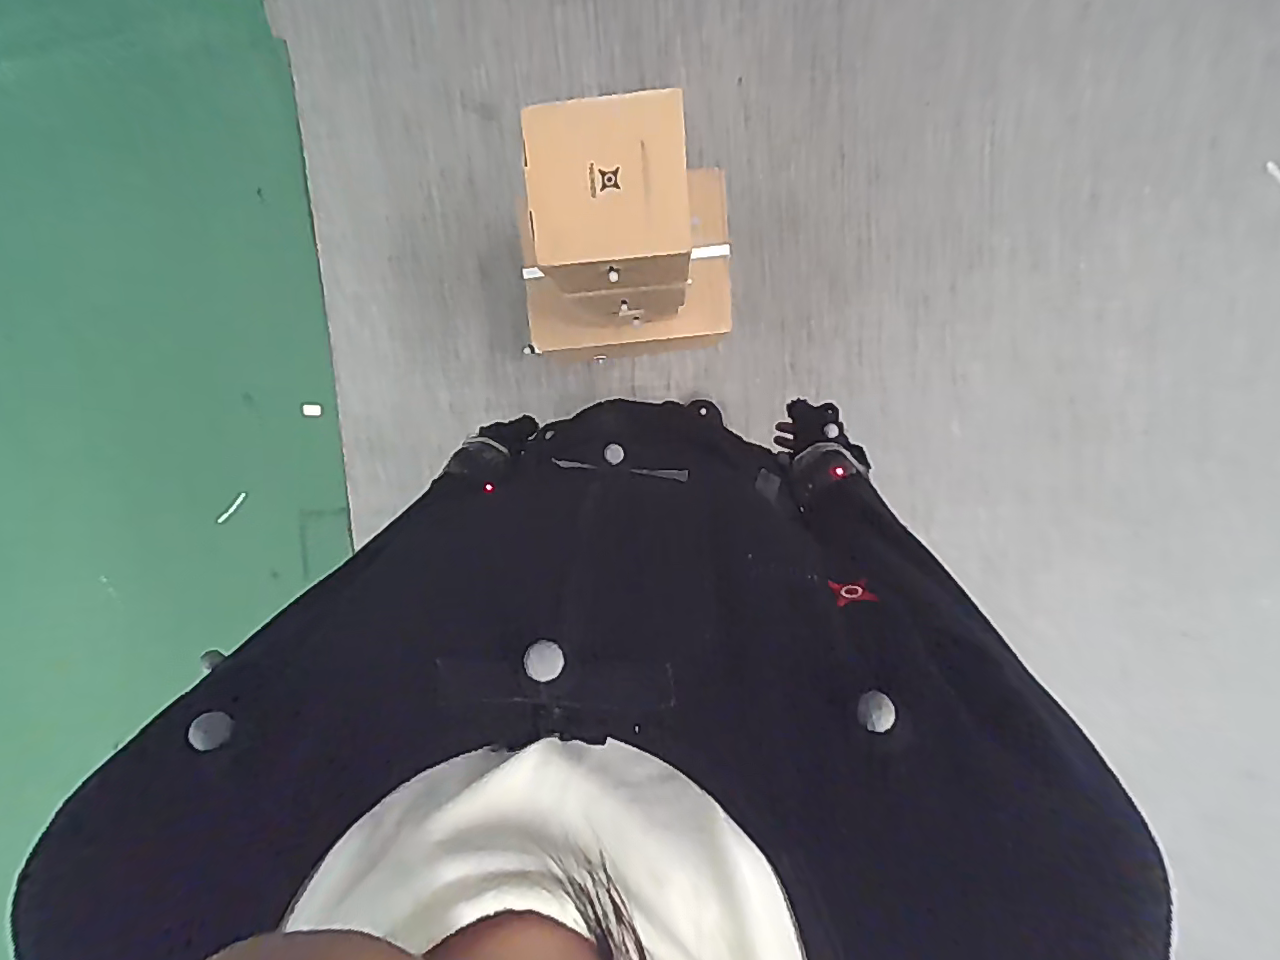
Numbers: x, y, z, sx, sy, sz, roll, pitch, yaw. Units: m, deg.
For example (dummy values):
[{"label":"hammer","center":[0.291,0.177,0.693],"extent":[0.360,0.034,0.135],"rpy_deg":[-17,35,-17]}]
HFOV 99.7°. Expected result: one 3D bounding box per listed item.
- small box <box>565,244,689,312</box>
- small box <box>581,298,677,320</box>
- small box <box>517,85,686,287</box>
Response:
[{"label":"small box","center":[-0.025,-0.358,0.819],"extent":[0.179,0.176,0.168],"rpy_deg":[-7,99,4]},{"label":"small box","center":[-0.023,-0.391,0.981],"extent":[0.168,0.176,0.179],"rpy_deg":[-6,100,5]},{"label":"small box","center":[-0.035,-0.339,0.659],"extent":[0.179,0.176,0.168],"rpy_deg":[-4,100,4]}]
